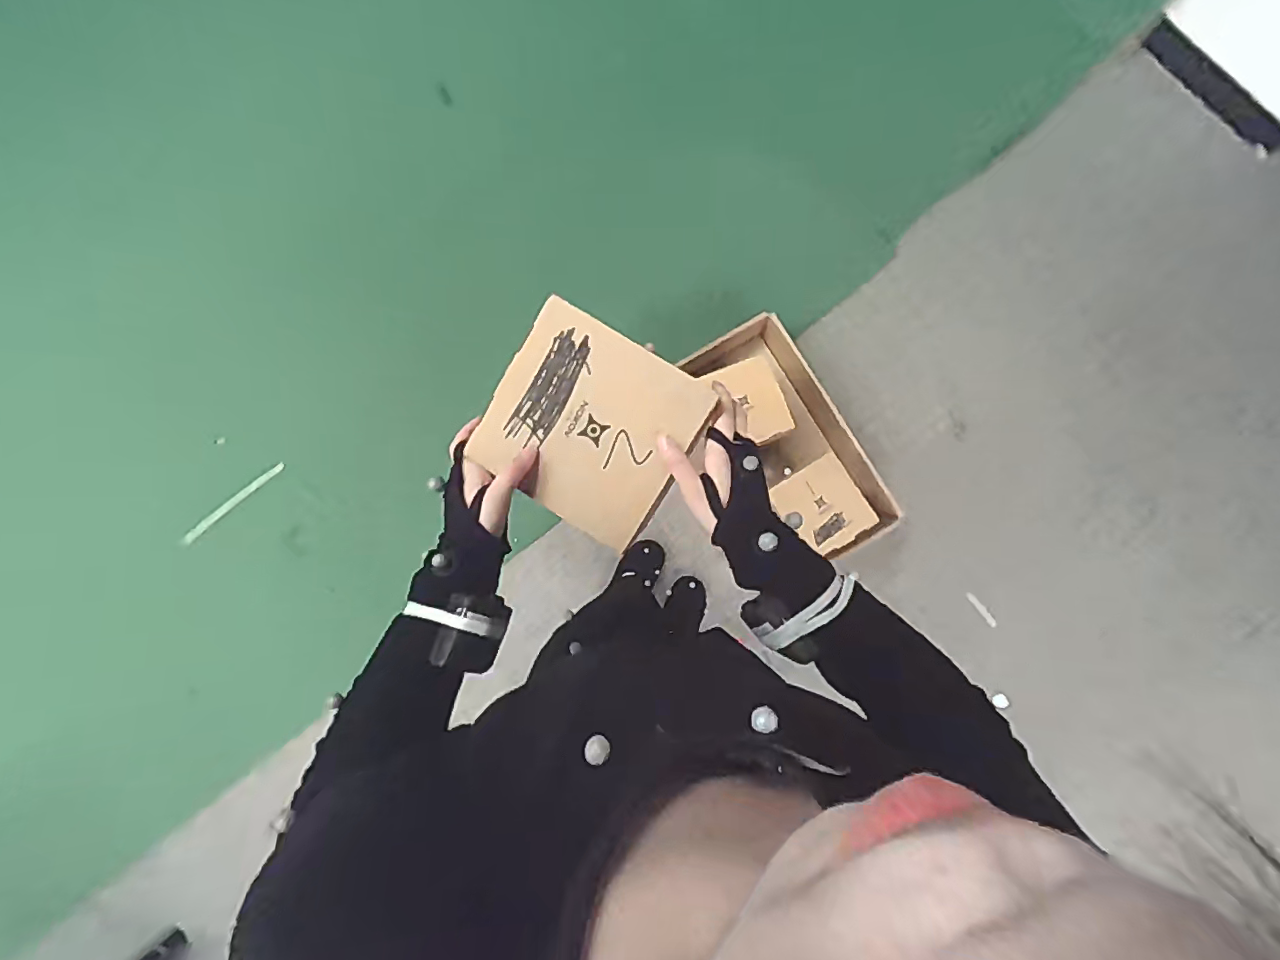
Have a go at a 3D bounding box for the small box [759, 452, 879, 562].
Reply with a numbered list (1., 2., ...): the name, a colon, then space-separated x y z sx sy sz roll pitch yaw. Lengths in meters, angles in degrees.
1. small box: 0.382 0.060 1.186 0.168 0.176 0.179 -32 82 1

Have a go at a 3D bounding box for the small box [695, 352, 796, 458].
1. small box: 0.228 -0.160 1.219 0.168 0.176 0.179 -20 86 2
